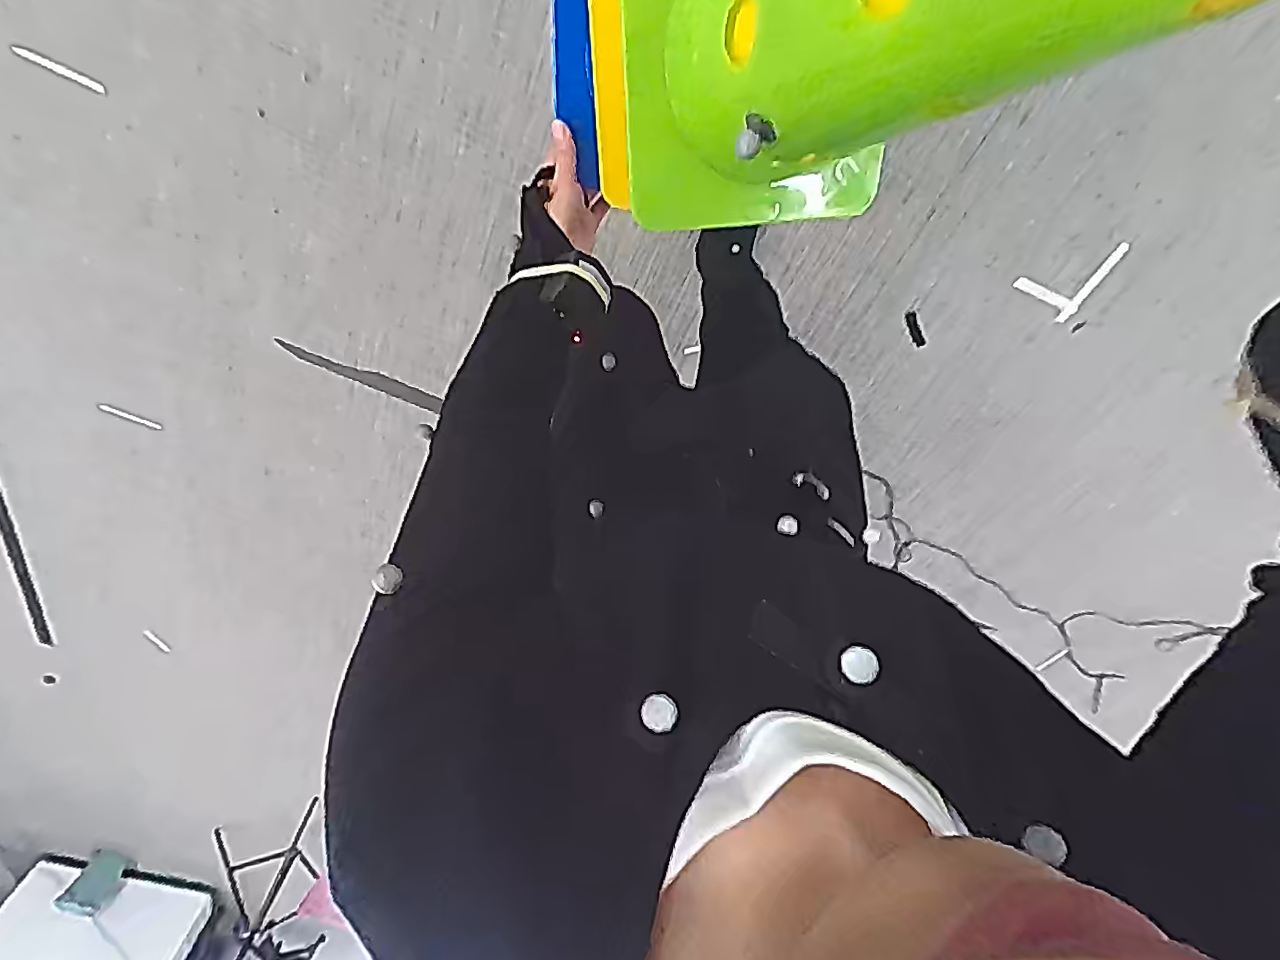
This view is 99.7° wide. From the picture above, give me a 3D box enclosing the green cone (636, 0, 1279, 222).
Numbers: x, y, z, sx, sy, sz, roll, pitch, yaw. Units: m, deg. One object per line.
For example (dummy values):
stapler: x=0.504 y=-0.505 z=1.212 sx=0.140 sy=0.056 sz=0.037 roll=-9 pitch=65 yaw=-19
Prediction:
green cone: x=0.137 y=-0.205 z=0.210 sx=0.200 sy=0.368 sz=0.202 roll=-10 pitch=121 yaw=-11
